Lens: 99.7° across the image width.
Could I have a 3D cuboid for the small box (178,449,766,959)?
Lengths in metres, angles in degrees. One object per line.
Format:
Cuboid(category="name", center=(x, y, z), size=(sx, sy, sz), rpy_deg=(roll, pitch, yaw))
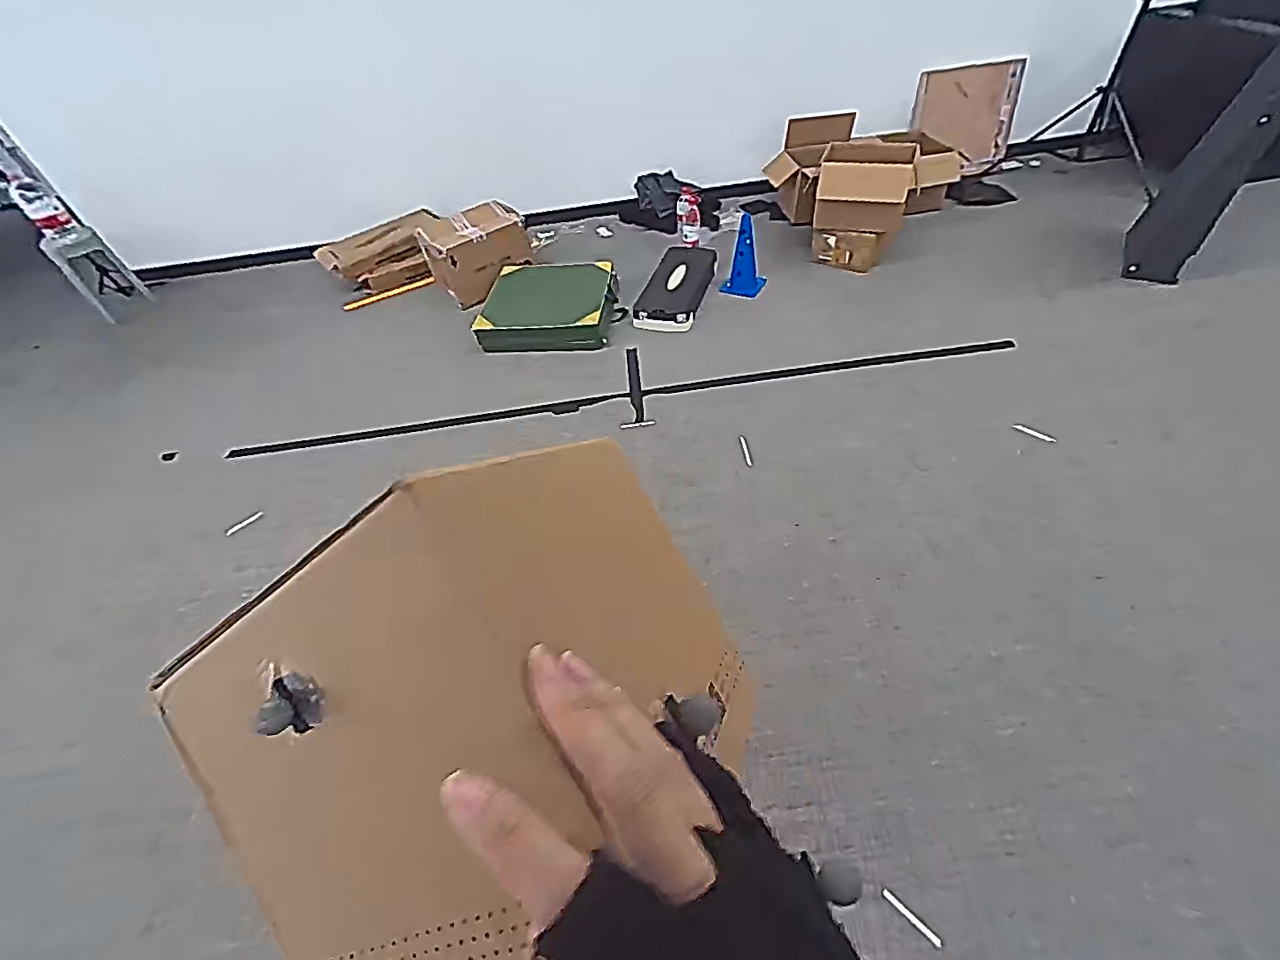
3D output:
Cuboid(category="small box", center=(-0.066, 0.107, 0.268), size=(0.179, 0.168, 0.176), rpy_deg=(-33, 87, 23))
